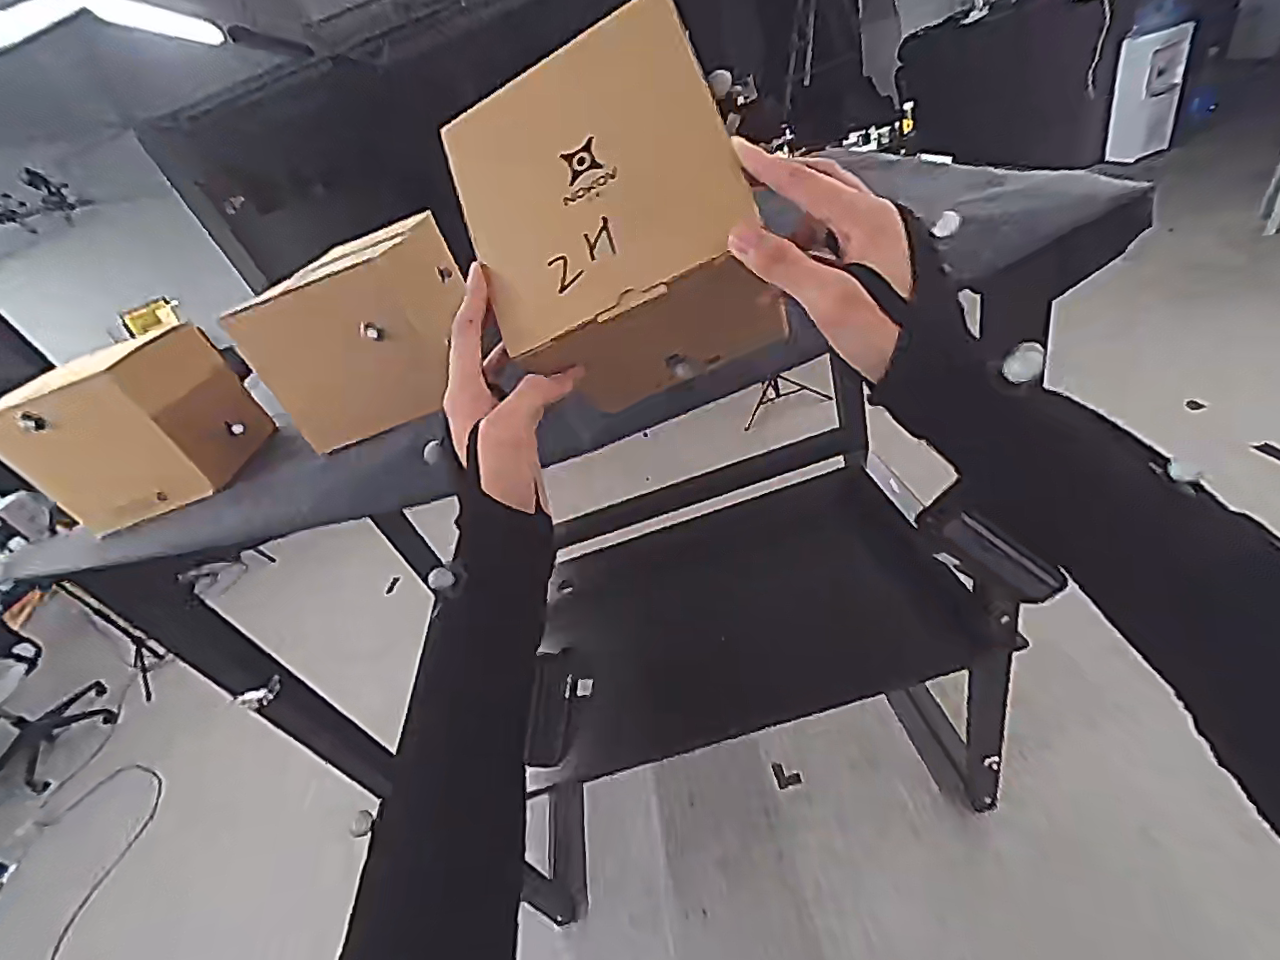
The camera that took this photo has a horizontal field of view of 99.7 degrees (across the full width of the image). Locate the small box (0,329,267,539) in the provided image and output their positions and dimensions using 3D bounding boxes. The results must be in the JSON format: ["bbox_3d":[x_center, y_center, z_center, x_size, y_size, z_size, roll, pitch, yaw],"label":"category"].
[{"bbox_3d":[-0.612,-0.058,0.667,0.168,0.176,0.179,-21,34,3],"label":"small box"}]

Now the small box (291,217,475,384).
[{"bbox_3d":[-0.379,-0.277,0.839,0.179,0.176,0.168,-19,35,6],"label":"small box"}]

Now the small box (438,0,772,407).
[{"bbox_3d":[-0.012,-0.174,0.401,0.168,0.179,0.176,-22,-10,16],"label":"small box"}]
